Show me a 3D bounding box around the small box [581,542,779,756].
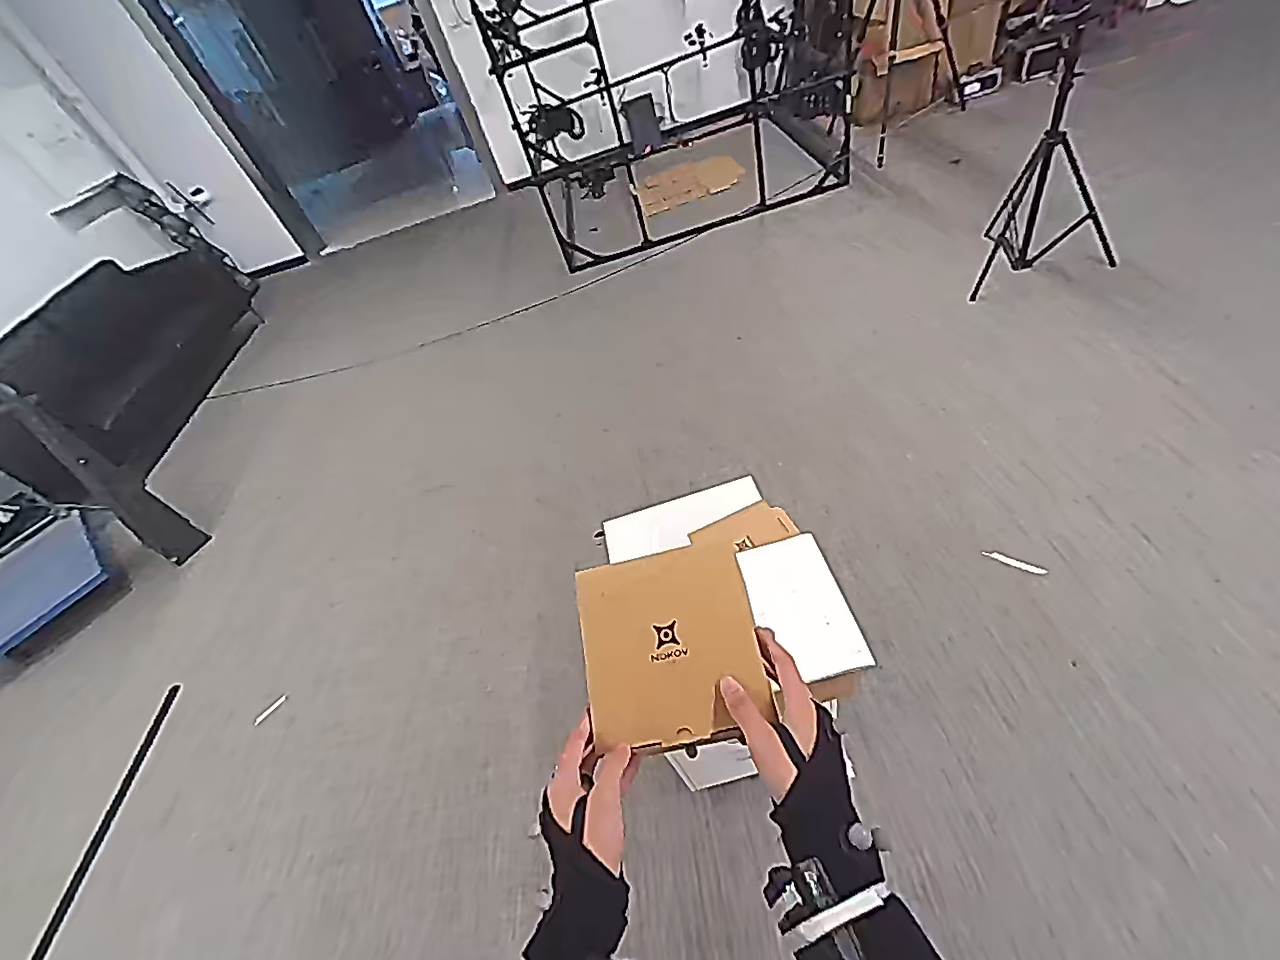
[{"bbox_3d":[0.045,0.190,0.583,0.168,0.176,0.179,-14,62,8],"label":"small box"}]
